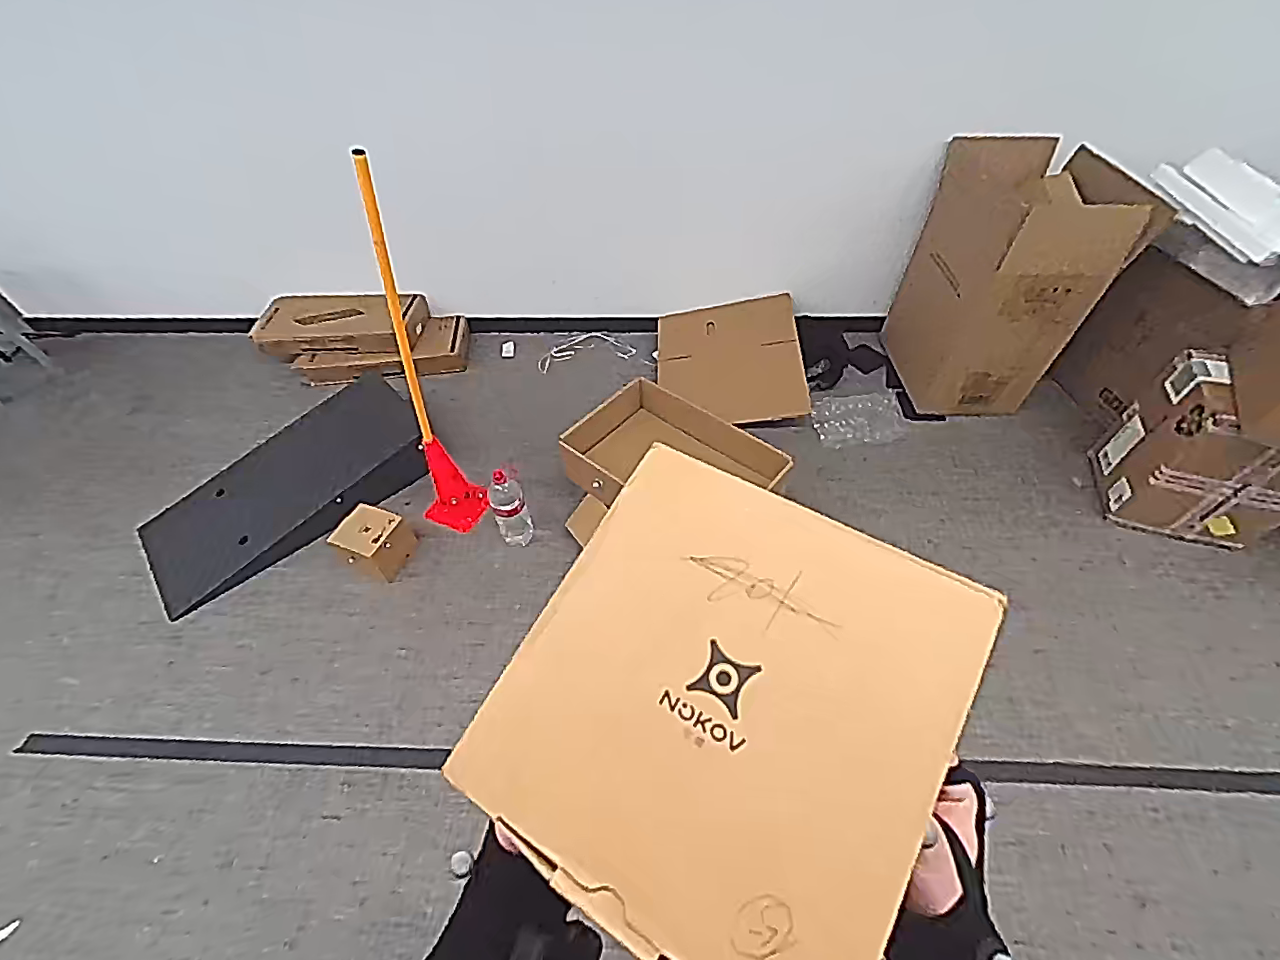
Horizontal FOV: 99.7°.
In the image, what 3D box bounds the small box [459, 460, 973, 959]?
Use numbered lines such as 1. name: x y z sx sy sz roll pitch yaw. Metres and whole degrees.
1. small box: 0.044 0.125 0.302 0.168 0.176 0.179 25 69 20
